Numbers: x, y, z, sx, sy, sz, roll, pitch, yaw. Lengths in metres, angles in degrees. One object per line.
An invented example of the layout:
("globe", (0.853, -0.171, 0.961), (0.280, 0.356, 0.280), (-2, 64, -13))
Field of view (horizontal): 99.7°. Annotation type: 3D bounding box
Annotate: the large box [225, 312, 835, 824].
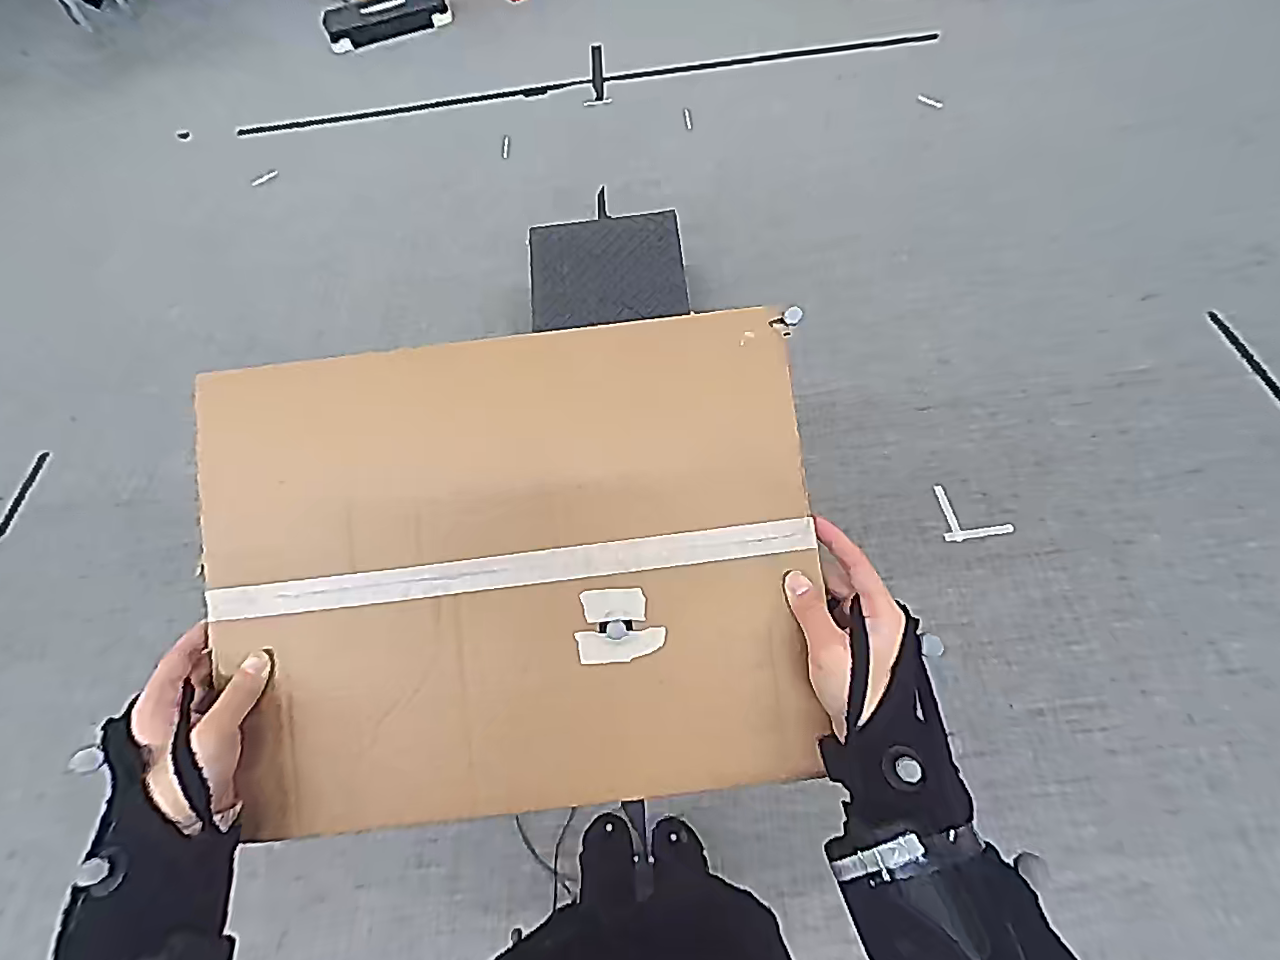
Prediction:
("large box", (-0.083, 0.067, 0.521), (0.408, 0.320, 0.320), (-7, 86, 0))
